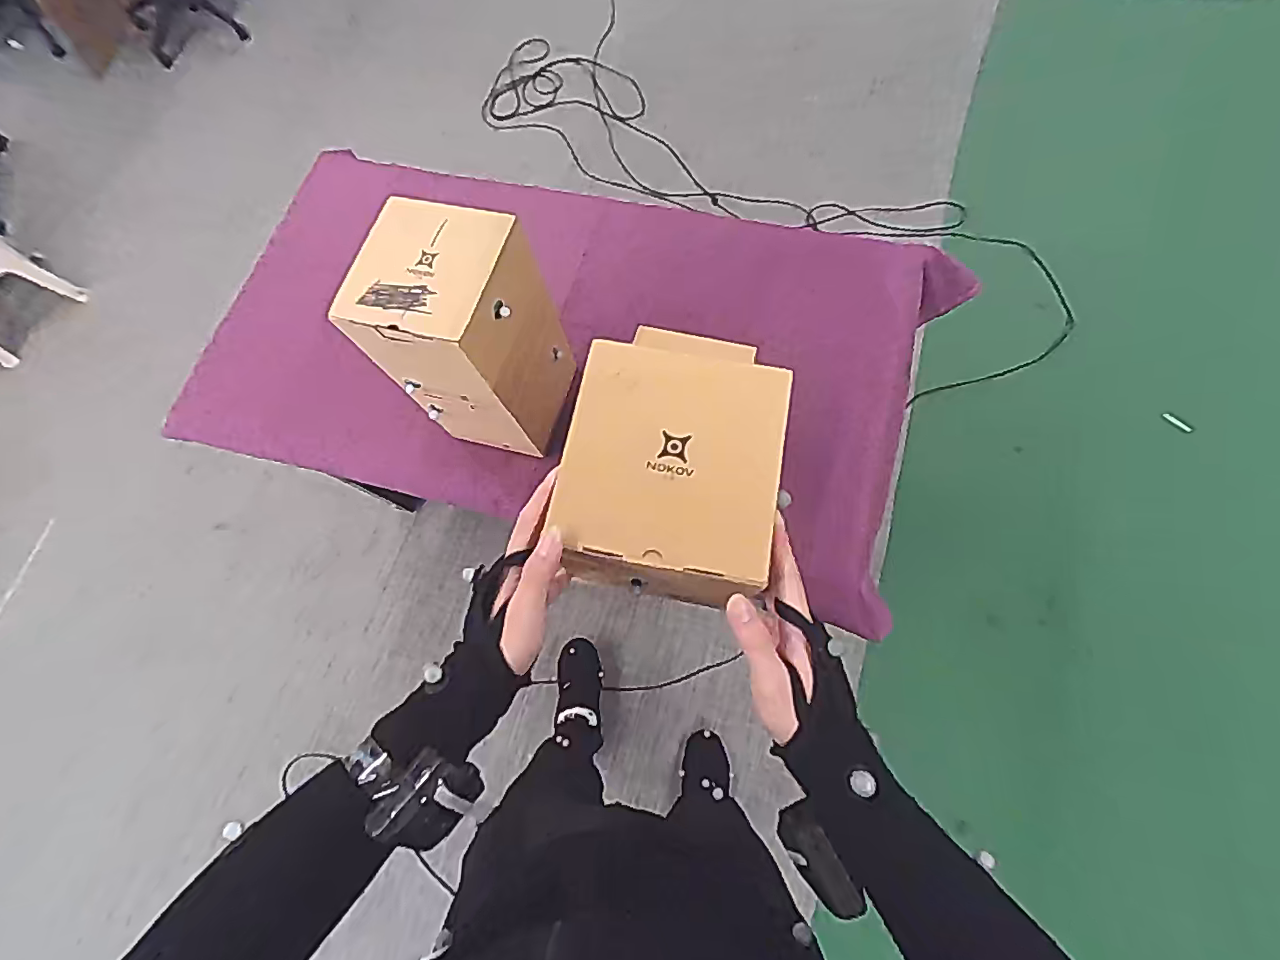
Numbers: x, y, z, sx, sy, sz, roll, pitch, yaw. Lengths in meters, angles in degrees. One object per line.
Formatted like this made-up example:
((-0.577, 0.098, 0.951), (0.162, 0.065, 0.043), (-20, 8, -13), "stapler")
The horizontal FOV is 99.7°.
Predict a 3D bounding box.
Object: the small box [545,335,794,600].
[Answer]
((0.026, 0.001, 0.488), (0.168, 0.176, 0.179), (11, 73, 4), "small box")

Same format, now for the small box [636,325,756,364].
((0.059, -0.088, 0.778), (0.168, 0.176, 0.179), (15, 73, 11), "small box")

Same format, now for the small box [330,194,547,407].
((-0.231, -0.214, 0.675), (0.168, 0.176, 0.179), (15, 72, 10), "small box")
